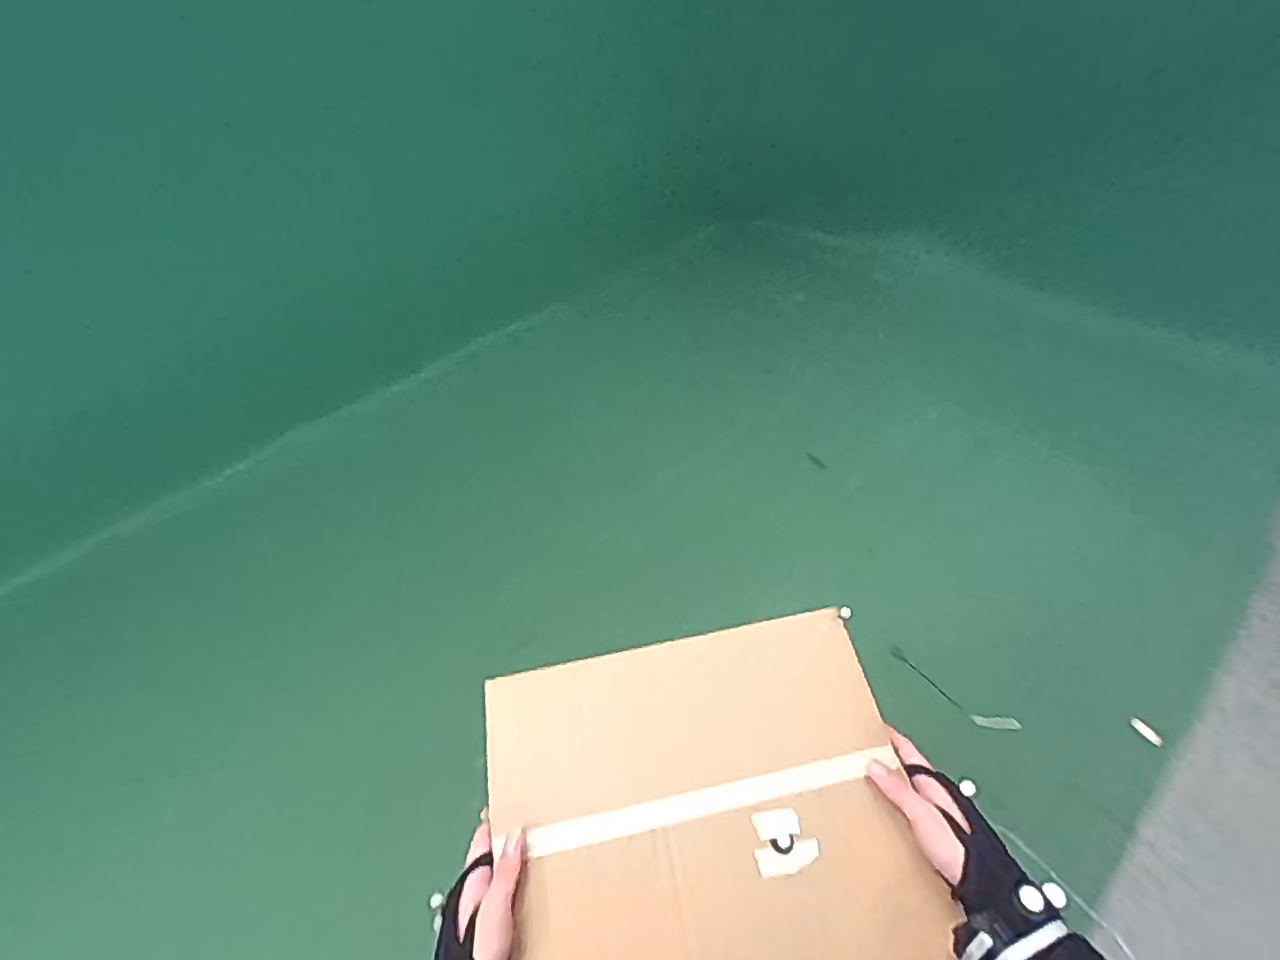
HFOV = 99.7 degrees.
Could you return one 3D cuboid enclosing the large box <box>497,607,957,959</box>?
[{"bbox_3d":[0.065,0.389,0.667,0.408,0.320,0.320,-10,59,-4],"label":"large box"}]
